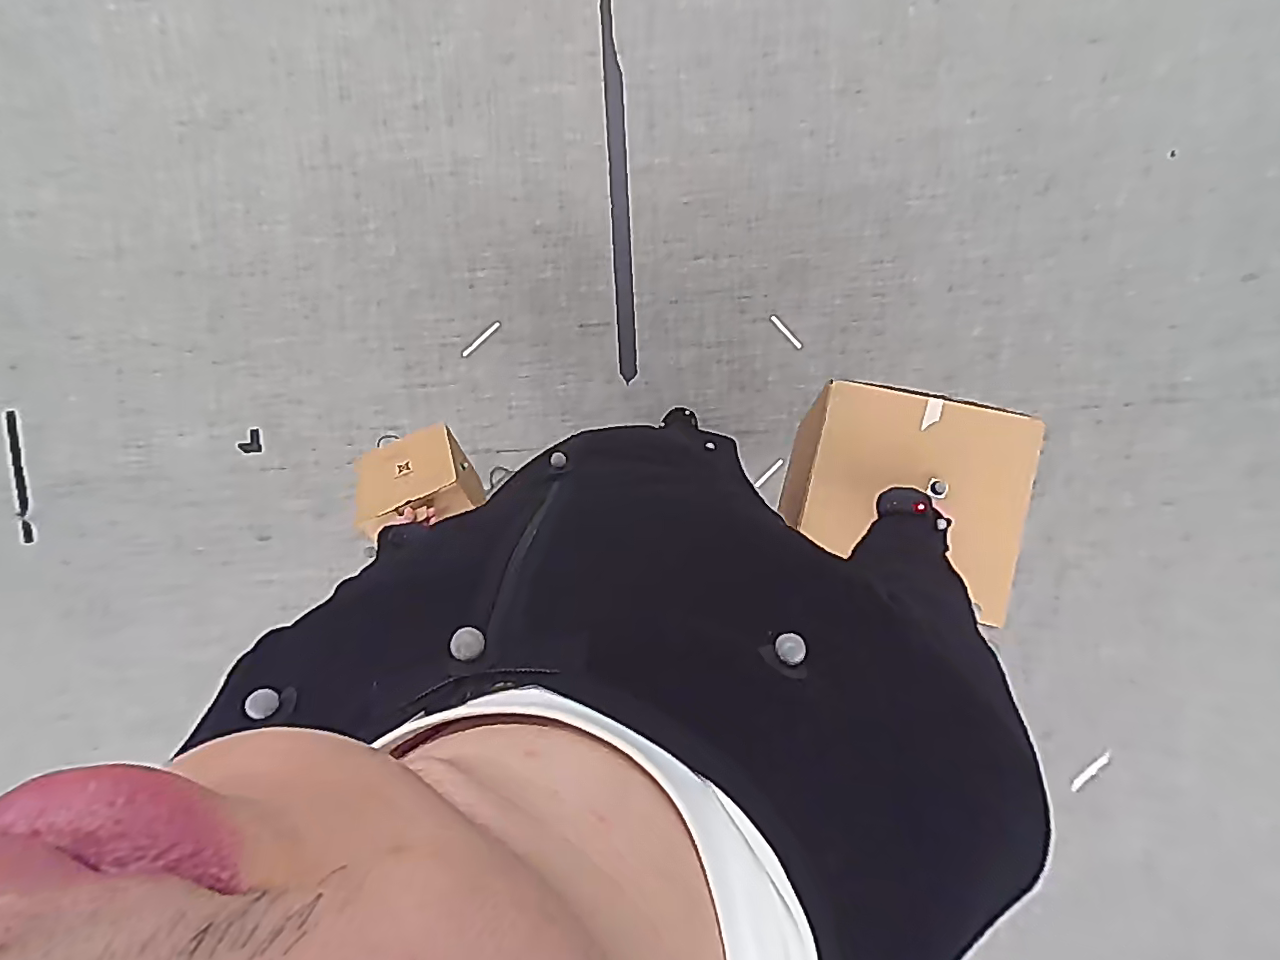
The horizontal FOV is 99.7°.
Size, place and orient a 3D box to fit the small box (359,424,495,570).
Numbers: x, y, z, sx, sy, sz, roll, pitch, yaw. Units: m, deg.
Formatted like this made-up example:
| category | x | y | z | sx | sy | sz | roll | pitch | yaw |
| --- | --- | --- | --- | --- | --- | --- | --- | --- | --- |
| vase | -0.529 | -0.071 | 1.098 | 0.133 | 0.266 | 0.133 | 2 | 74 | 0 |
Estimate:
| category | x | y | z | sx | sy | sz | roll | pitch | yaw |
| --- | --- | --- | --- | --- | --- | --- | --- | --- | --- |
| small box | -0.378 | 0.038 | 0.970 | 0.168 | 0.179 | 0.176 | -24 | 137 | -8 |
